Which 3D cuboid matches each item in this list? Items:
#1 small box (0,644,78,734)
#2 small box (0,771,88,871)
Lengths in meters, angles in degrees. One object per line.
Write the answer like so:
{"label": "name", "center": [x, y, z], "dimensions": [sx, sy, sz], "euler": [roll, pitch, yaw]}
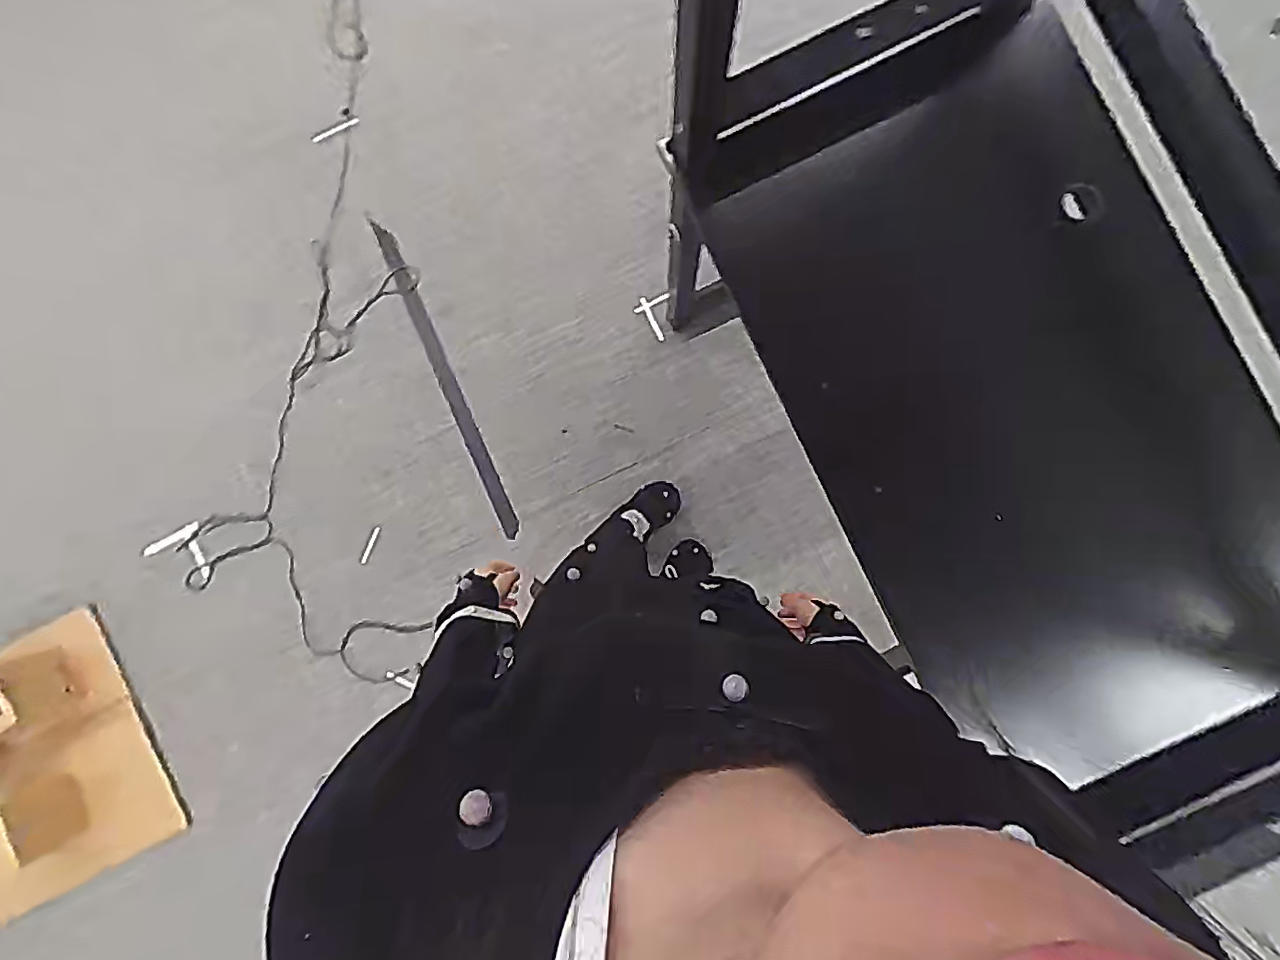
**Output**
{"label": "small box", "center": [-1.679, 0.566, 1.448], "dimensions": [0.179, 0.176, 0.168], "euler": [-31, 87, 1]}
{"label": "small box", "center": [-1.647, 0.909, 1.435], "dimensions": [0.168, 0.176, 0.179], "euler": [-24, 89, 1]}
